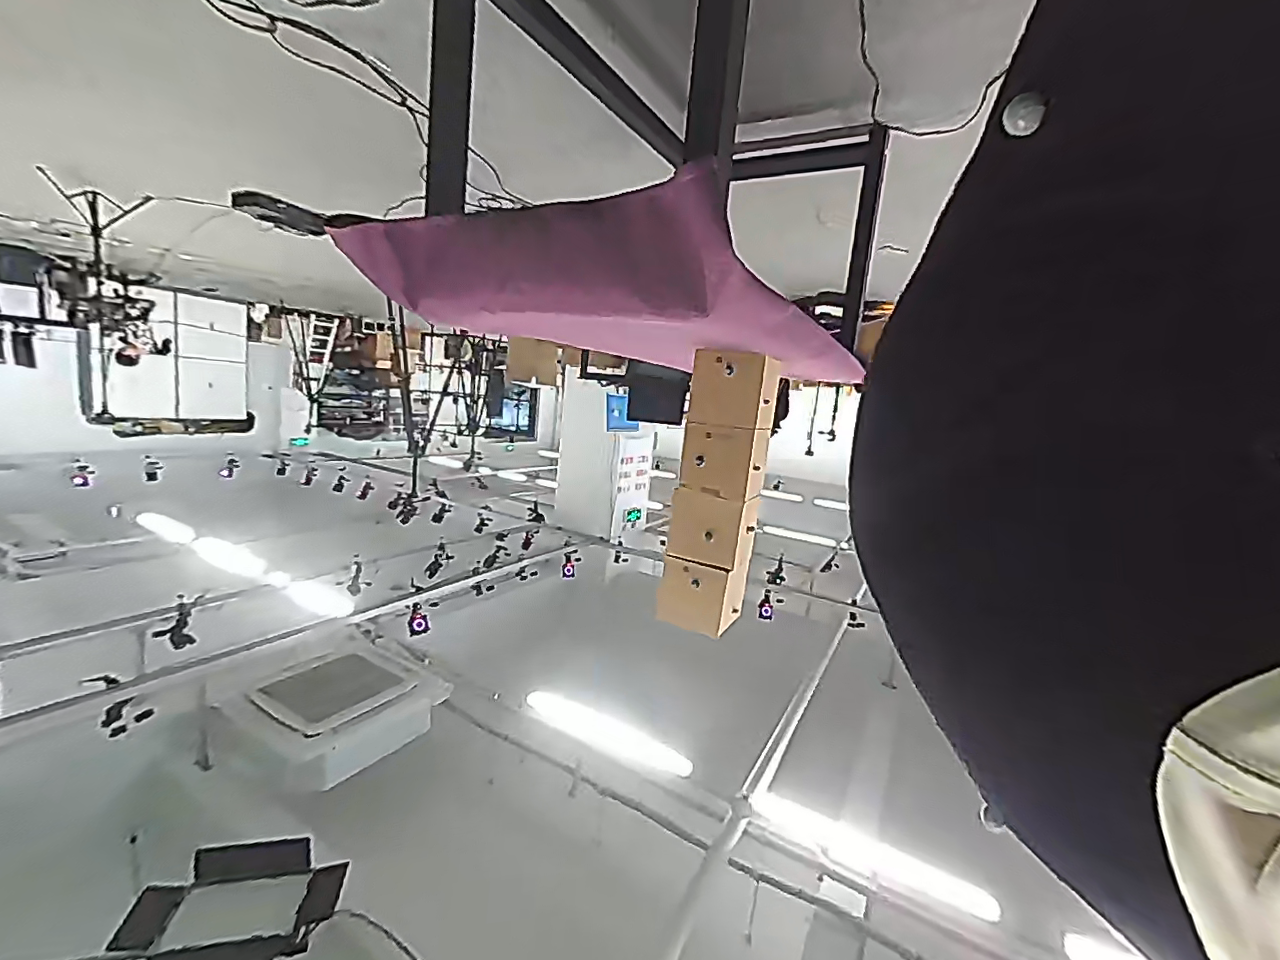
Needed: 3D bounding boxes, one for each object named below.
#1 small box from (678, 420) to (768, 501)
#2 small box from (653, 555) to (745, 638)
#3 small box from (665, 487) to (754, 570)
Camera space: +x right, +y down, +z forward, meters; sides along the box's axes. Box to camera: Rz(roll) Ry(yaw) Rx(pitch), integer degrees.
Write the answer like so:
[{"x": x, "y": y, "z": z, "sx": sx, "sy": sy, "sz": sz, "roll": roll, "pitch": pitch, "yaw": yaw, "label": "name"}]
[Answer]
[{"x": 0.203, "y": -0.053, "z": 1.306, "sx": 0.168, "sy": 0.176, "sz": 0.179, "roll": 11, "pitch": -171, "yaw": 24, "label": "small box"}, {"x": 0.154, "y": 0.267, "z": 1.356, "sx": 0.168, "sy": 0.176, "sz": 0.179, "roll": 12, "pitch": -171, "yaw": 26, "label": "small box"}, {"x": 0.177, "y": 0.106, "z": 1.332, "sx": 0.179, "sy": 0.176, "sz": 0.168, "roll": 11, "pitch": -172, "yaw": 24, "label": "small box"}]
